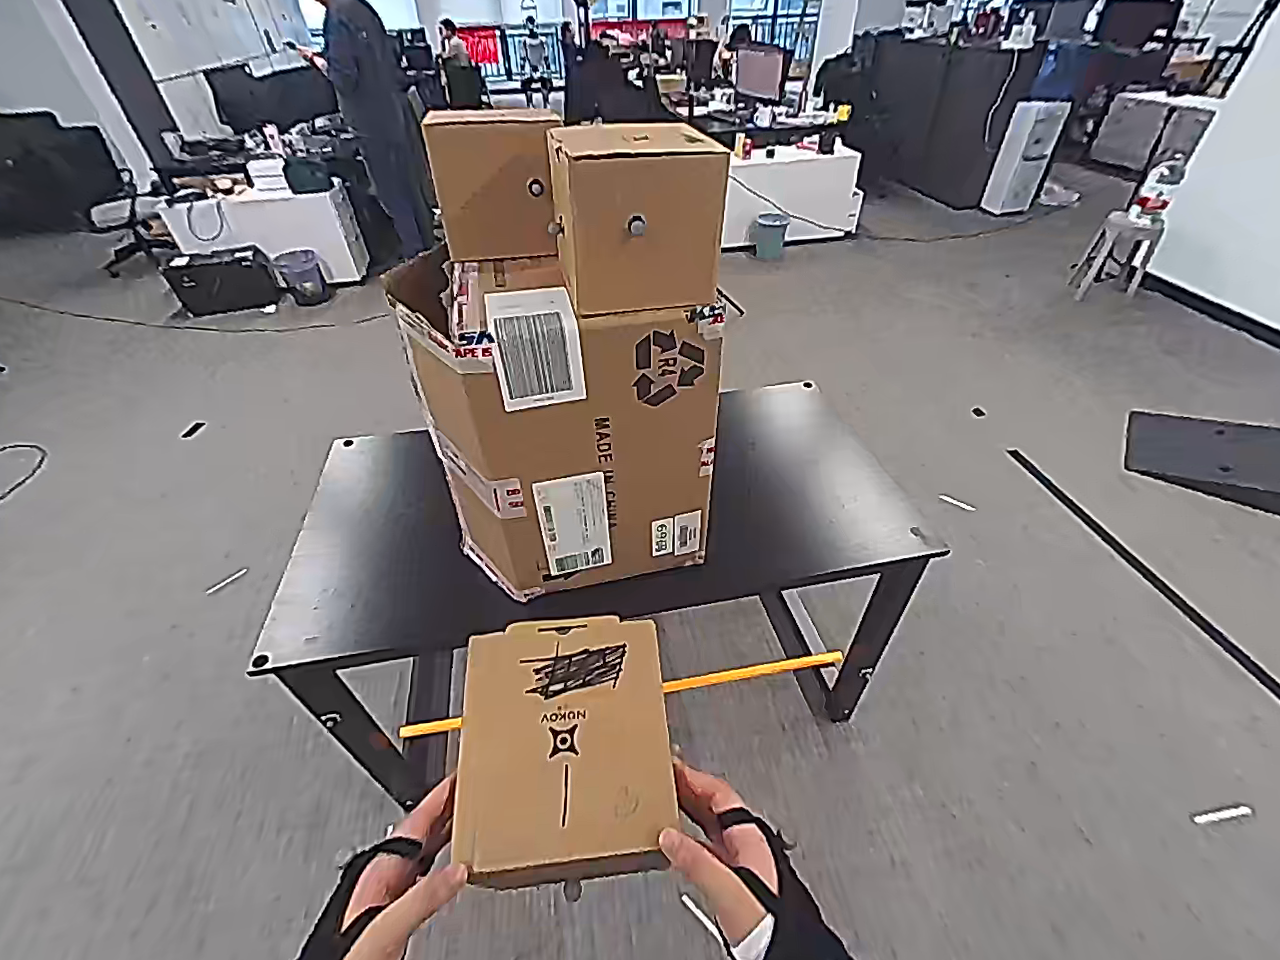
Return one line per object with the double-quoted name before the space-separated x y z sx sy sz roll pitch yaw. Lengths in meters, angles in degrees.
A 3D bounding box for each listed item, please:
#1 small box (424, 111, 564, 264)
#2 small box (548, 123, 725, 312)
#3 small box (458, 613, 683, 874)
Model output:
"small box" -0.200 -0.430 0.792 0.179 0.176 0.168 -10 39 -10
"small box" -0.008 -0.321 0.666 0.179 0.176 0.168 -10 44 -10
"small box" -0.059 0.245 0.503 0.168 0.176 0.179 -4 51 -4
